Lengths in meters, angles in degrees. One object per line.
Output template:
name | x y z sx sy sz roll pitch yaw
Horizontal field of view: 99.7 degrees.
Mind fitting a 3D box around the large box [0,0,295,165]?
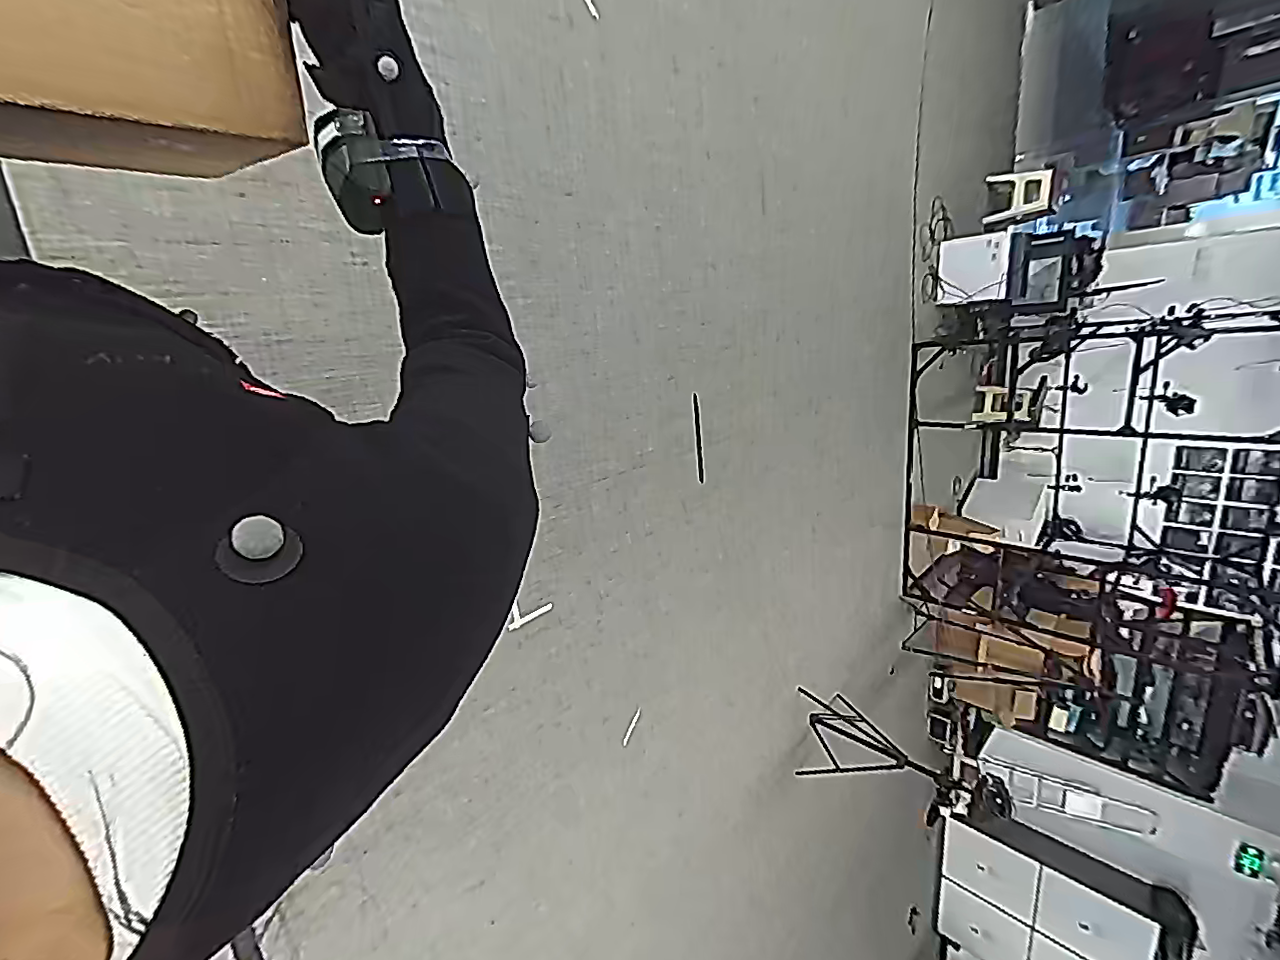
large box | -0.494 -0.384 0.301 0.408 0.320 0.320 -20 122 -42
